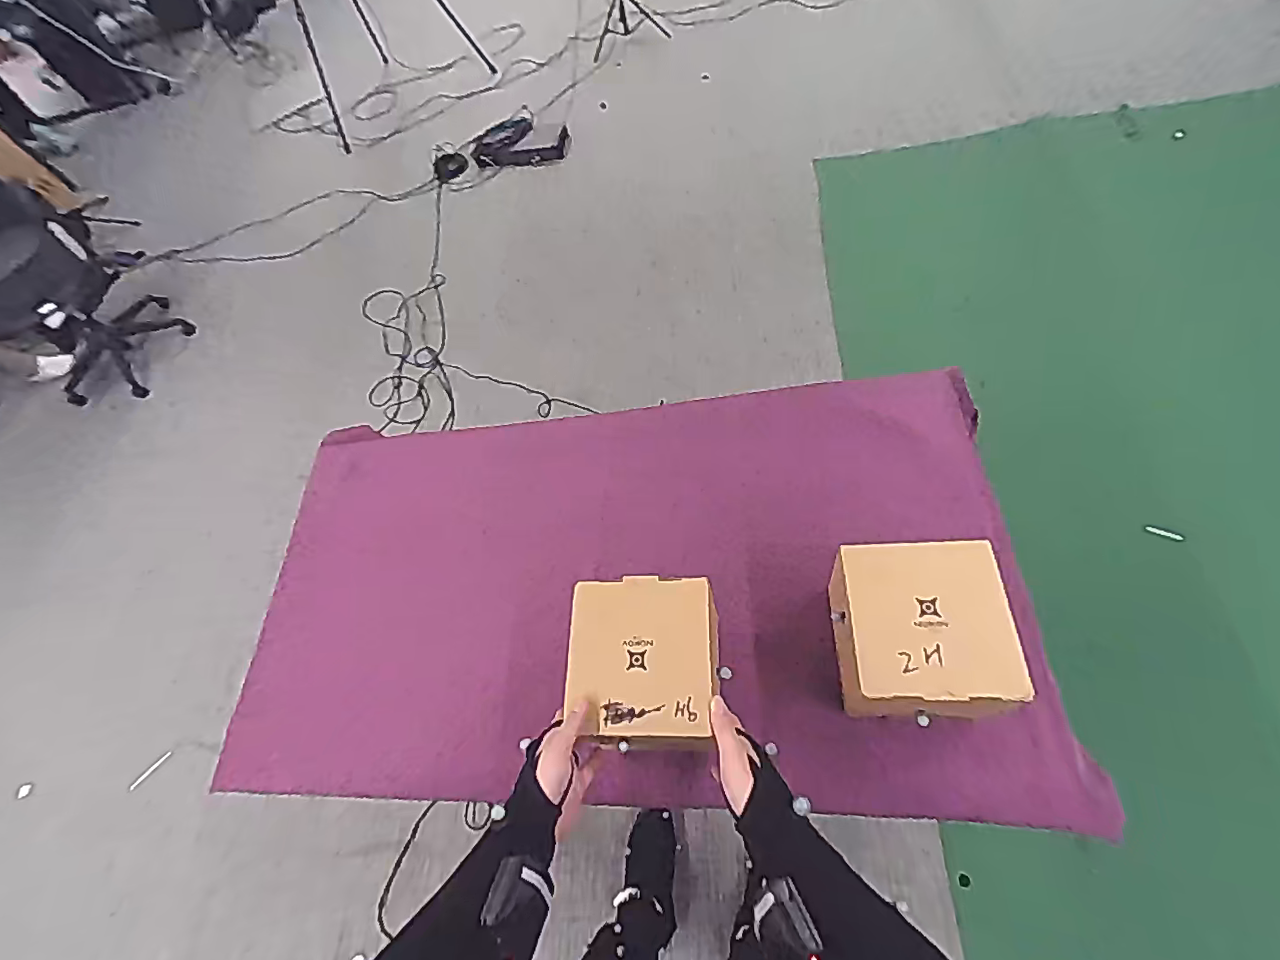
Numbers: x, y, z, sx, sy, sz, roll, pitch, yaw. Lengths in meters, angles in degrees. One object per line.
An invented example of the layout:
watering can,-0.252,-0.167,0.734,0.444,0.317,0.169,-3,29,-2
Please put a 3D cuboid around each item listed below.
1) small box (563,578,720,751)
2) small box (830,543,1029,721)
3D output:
small box,0.013,0.237,0.686,0.168,0.176,0.179,-4,59,10
small box,0.333,0.191,0.666,0.168,0.176,0.179,-4,61,13
